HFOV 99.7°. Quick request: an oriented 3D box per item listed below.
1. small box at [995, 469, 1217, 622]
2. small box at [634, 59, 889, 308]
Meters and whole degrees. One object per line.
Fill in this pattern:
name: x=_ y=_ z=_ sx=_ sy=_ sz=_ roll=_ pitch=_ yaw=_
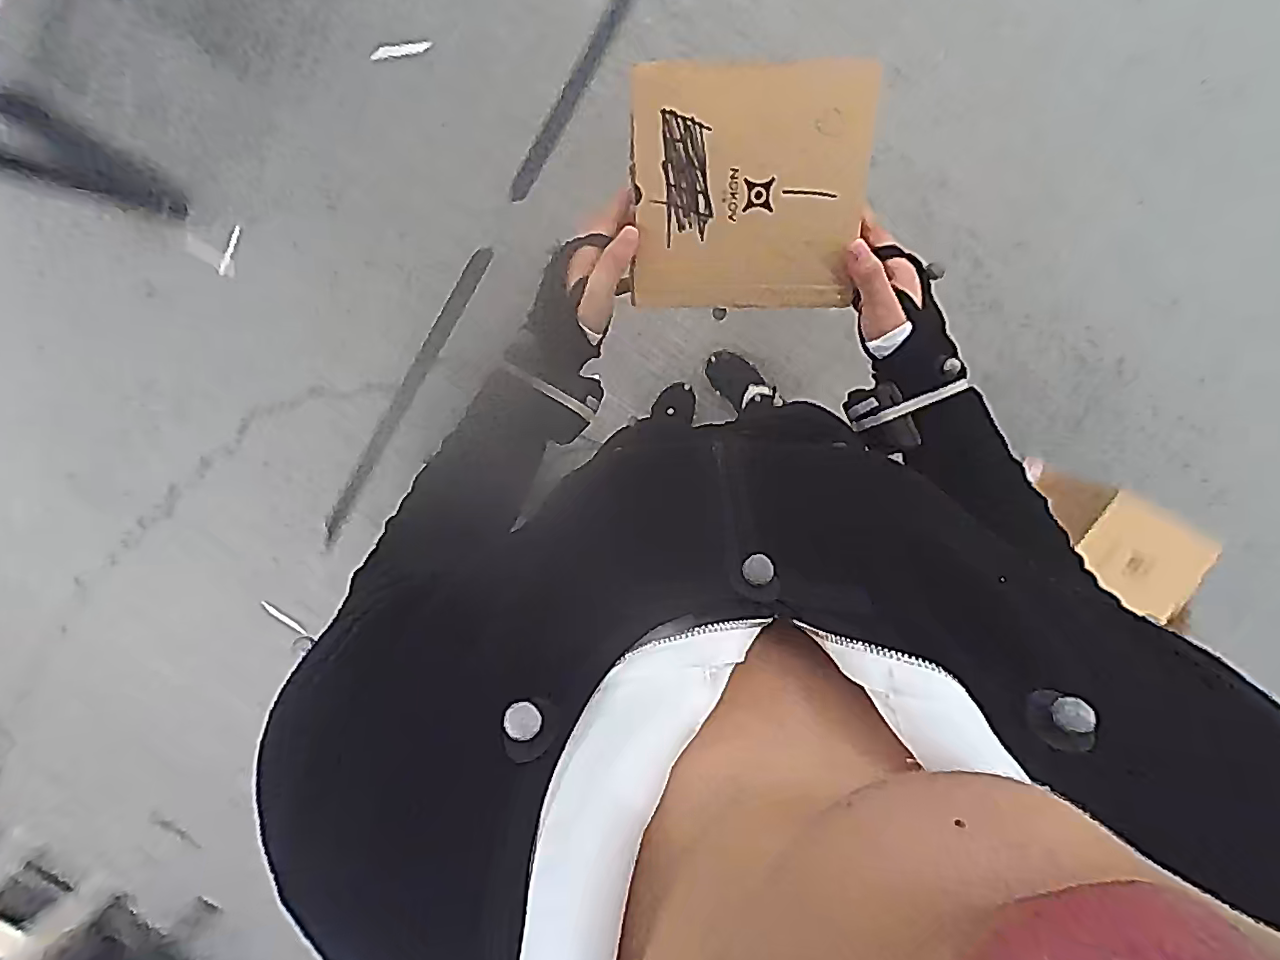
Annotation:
small box: x=0.742 y=0.094 z=0.886 sx=0.179 sy=0.176 sz=0.168 roll=30 pitch=101 yaw=3
small box: x=0.091 y=-0.249 z=0.486 sx=0.179 sy=0.176 sz=0.168 roll=3 pitch=113 yaw=3
